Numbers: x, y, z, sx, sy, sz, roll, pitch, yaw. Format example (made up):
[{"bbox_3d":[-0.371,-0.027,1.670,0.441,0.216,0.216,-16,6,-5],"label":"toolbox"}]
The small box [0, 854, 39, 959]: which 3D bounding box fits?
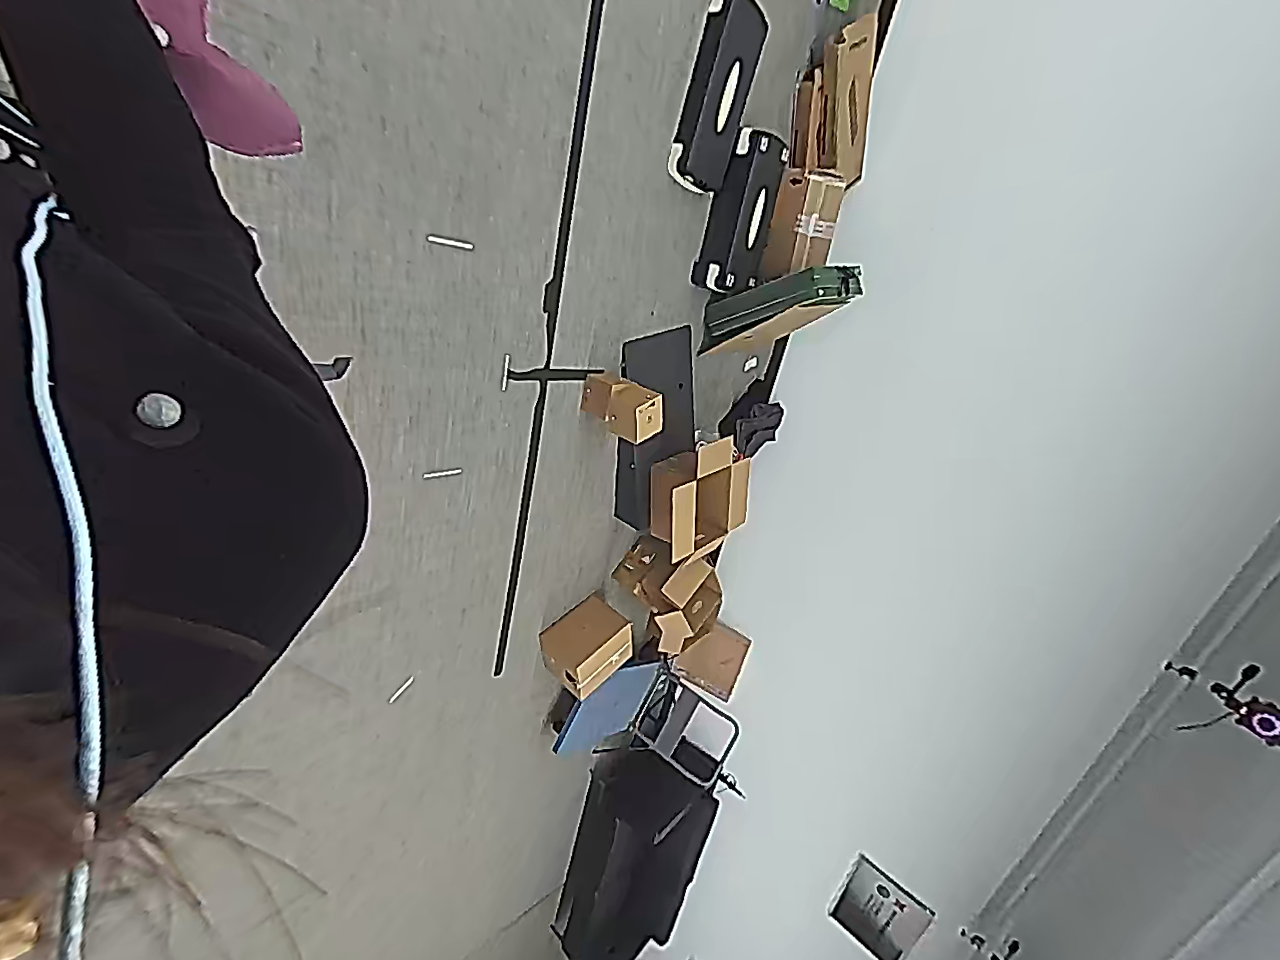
[{"bbox_3d":[-1.726,1.150,1.425,0.179,0.176,0.168,-5,117,-54],"label":"small box"}]
